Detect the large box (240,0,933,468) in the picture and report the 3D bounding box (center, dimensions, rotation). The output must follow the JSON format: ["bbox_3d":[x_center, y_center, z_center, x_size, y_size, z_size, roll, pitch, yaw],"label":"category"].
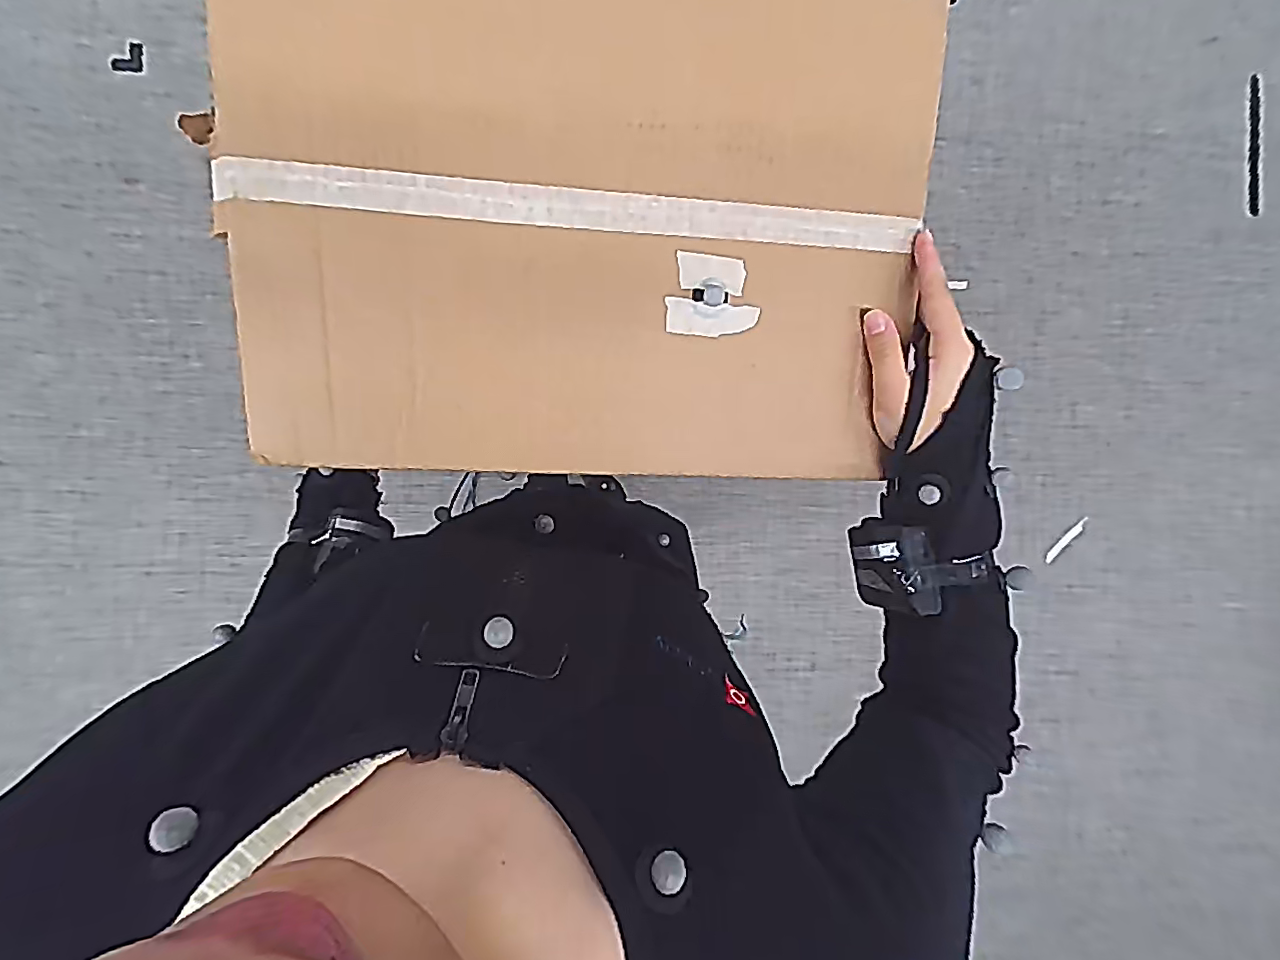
[{"bbox_3d":[-0.041,-0.187,0.474,0.408,0.320,0.320,1,101,-9],"label":"large box"}]
